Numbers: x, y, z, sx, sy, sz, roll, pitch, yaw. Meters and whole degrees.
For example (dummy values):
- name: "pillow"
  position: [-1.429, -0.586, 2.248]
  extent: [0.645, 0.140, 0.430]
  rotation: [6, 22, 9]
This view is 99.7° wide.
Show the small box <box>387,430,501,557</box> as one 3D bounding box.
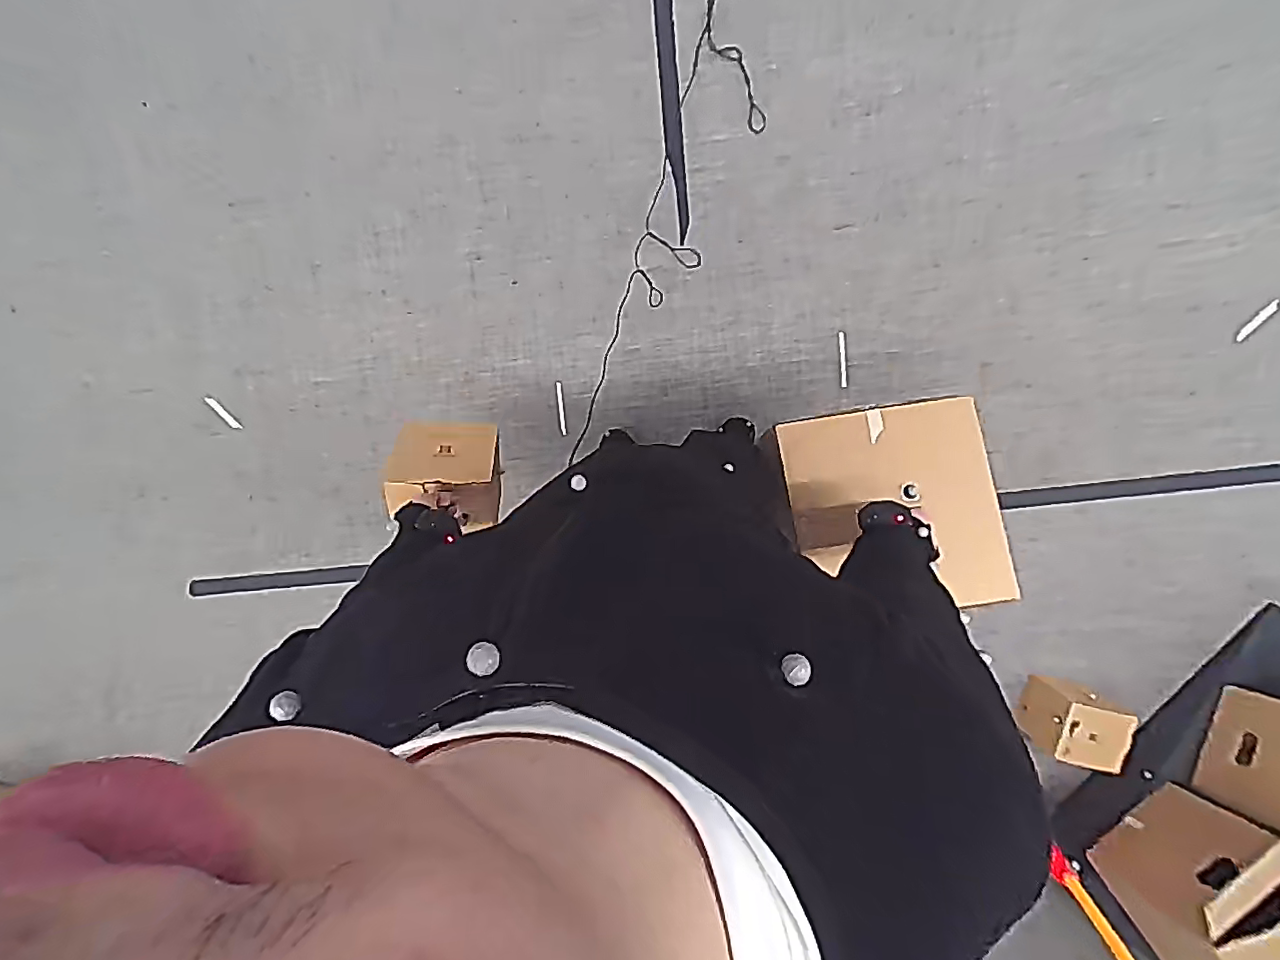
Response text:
- name: "small box"
  position: [-0.342, 0.026, 0.981]
  extent: [0.168, 0.179, 0.176]
  rotation: [1, 125, -11]
